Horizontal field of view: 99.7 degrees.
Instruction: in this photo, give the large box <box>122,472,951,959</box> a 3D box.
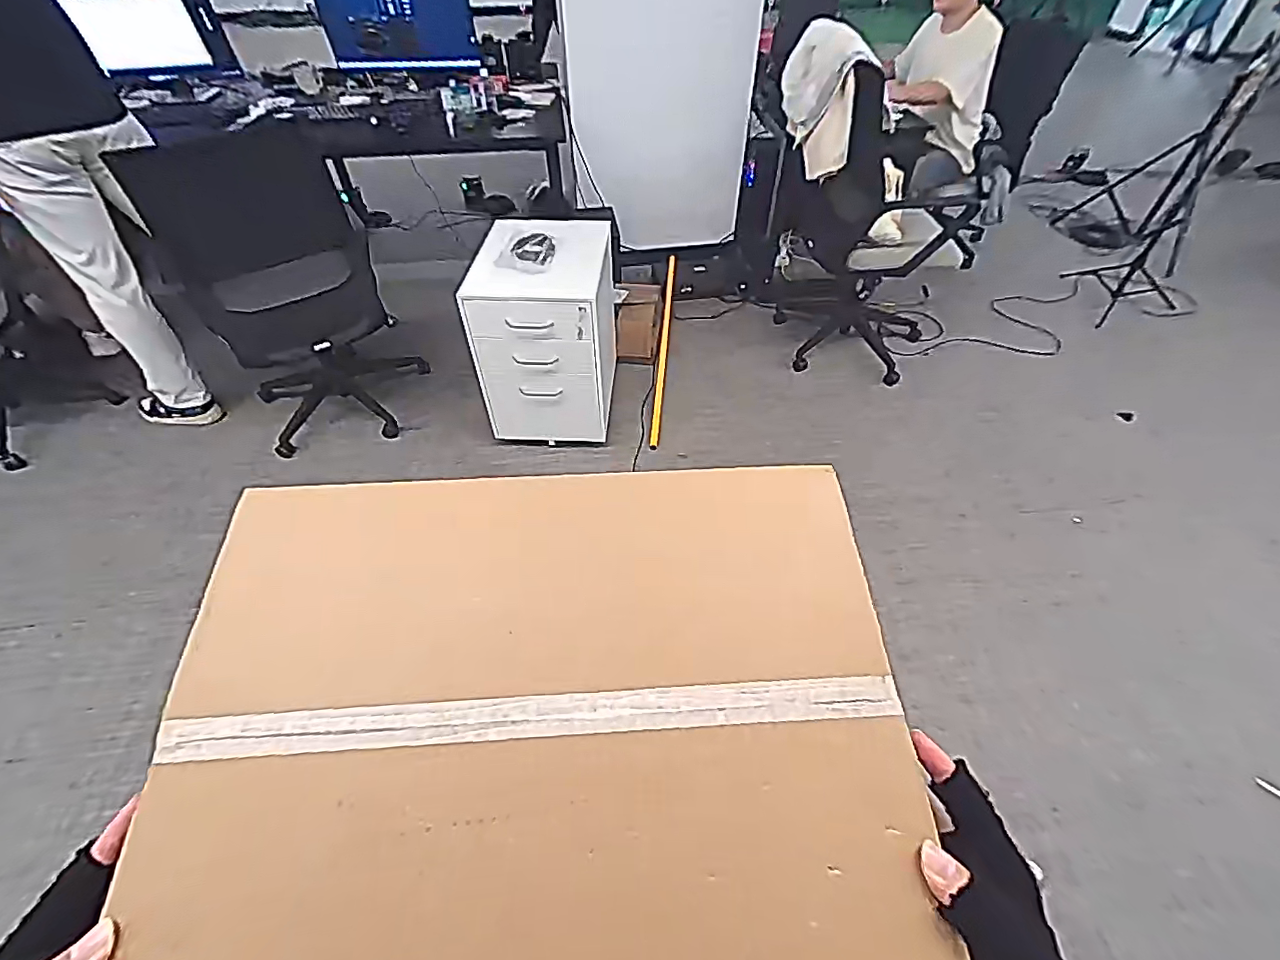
[{"bbox_3d":[-0.058,0.211,0.443,0.408,0.320,0.320,-2,61,-2],"label":"large box"}]
